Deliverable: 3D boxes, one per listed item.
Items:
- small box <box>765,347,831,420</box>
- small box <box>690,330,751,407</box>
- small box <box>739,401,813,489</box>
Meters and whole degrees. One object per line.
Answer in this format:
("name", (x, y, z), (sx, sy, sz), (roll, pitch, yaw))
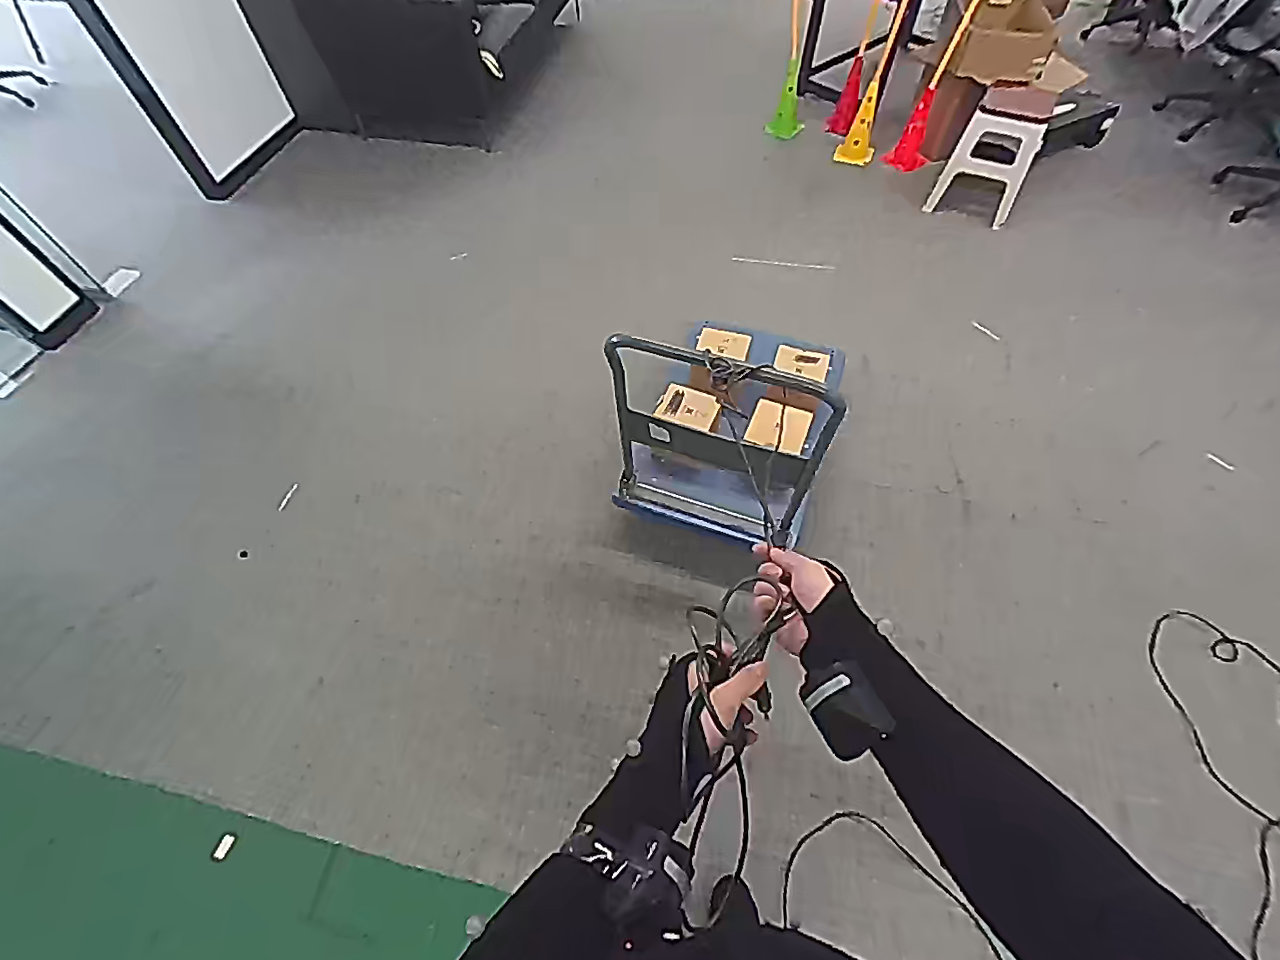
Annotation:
("small box", (0.507, -0.298, 1.762), (0.168, 0.176, 0.179), (15, 60, 13))
("small box", (0.269, -0.371, 1.822), (0.168, 0.176, 0.179), (15, 59, 11))
("small box", (0.409, -0.103, 1.643), (0.168, 0.176, 0.179), (19, 61, 14))
